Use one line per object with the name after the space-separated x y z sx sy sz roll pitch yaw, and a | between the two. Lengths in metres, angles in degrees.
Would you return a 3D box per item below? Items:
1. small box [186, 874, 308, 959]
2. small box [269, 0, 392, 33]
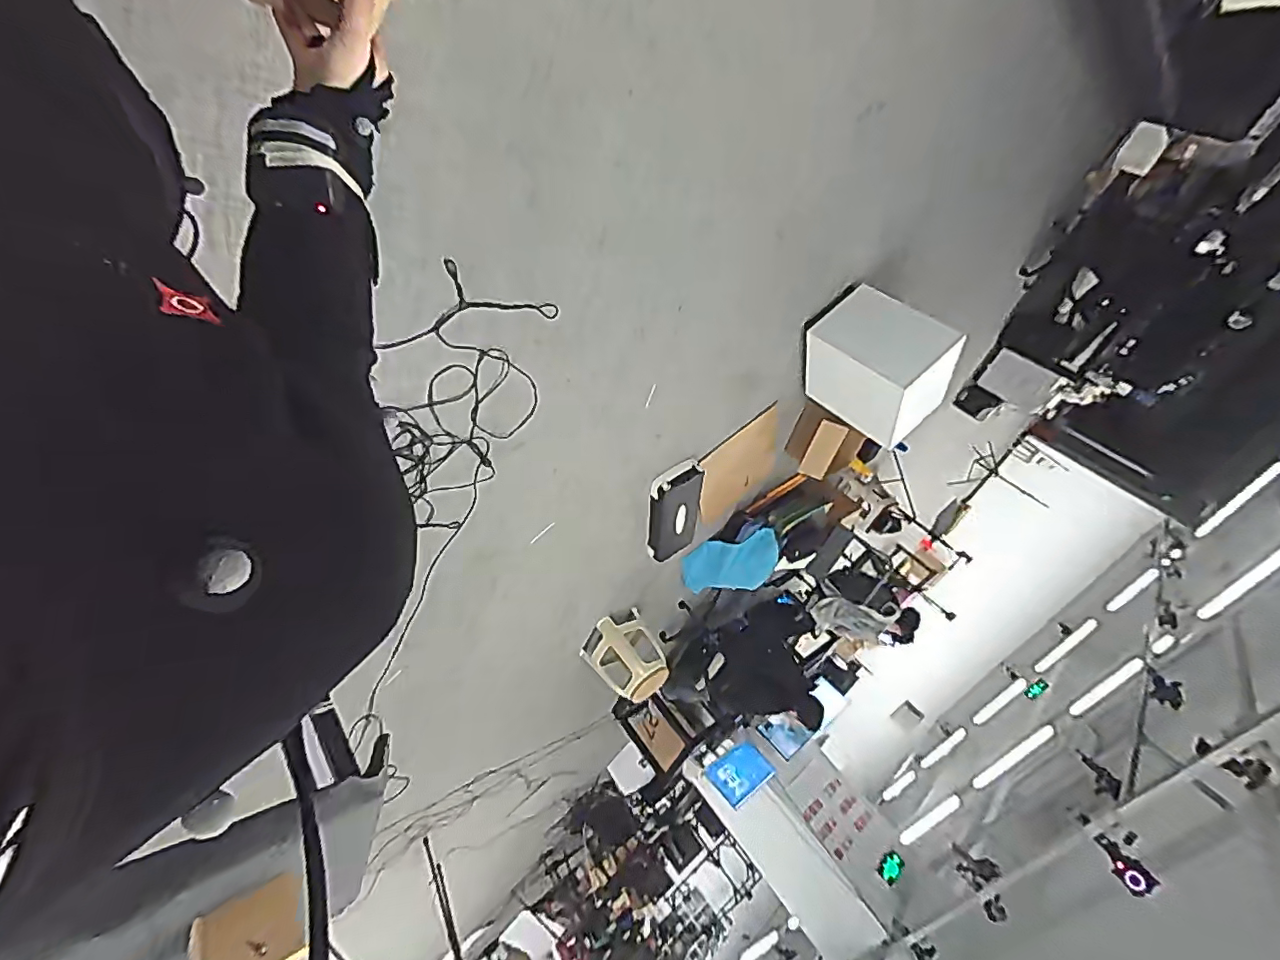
-0.856 1.017 1.172 0.179 0.176 0.168 -5 131 -50 | small box
-0.260 -0.473 0.372 0.179 0.176 0.168 -61 160 3 | small box
